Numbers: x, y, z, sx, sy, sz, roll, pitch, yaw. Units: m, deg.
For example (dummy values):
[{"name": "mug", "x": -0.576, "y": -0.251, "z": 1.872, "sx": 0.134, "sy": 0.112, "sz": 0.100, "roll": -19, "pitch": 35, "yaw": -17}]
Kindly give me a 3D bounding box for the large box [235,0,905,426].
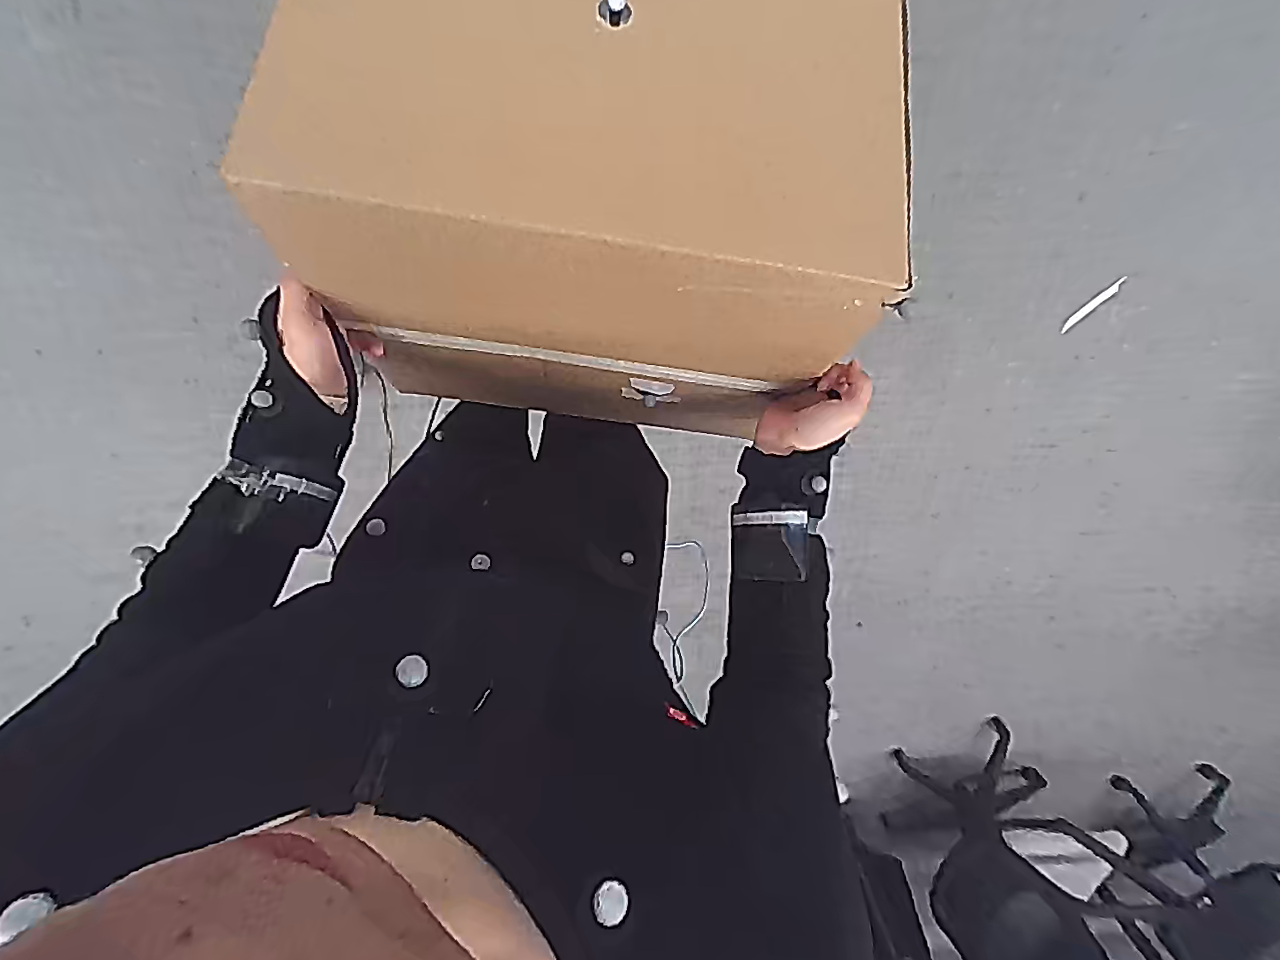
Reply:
[{"name": "large box", "x": -0.038, "y": -0.265, "z": 0.497, "sx": 0.408, "sy": 0.320, "sz": 0.320, "roll": 6, "pitch": 76, "yaw": -5}]
